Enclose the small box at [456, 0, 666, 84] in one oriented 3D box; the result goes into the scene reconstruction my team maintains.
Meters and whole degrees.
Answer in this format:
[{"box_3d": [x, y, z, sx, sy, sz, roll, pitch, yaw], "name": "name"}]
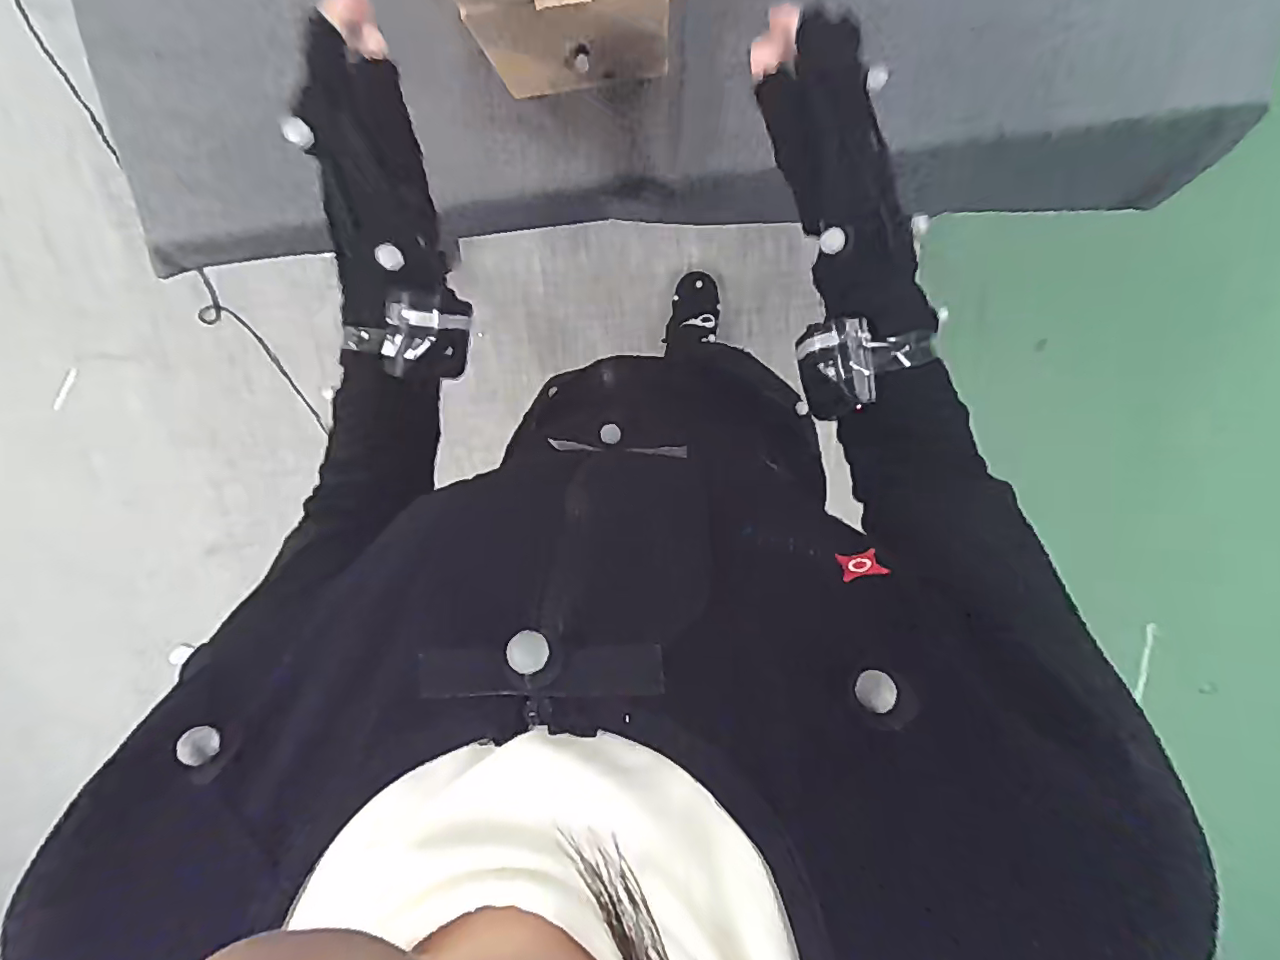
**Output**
[{"box_3d": [-0.066, -0.476, 0.468, 0.168, 0.176, 0.179, -5, 106, 4], "name": "small box"}]
